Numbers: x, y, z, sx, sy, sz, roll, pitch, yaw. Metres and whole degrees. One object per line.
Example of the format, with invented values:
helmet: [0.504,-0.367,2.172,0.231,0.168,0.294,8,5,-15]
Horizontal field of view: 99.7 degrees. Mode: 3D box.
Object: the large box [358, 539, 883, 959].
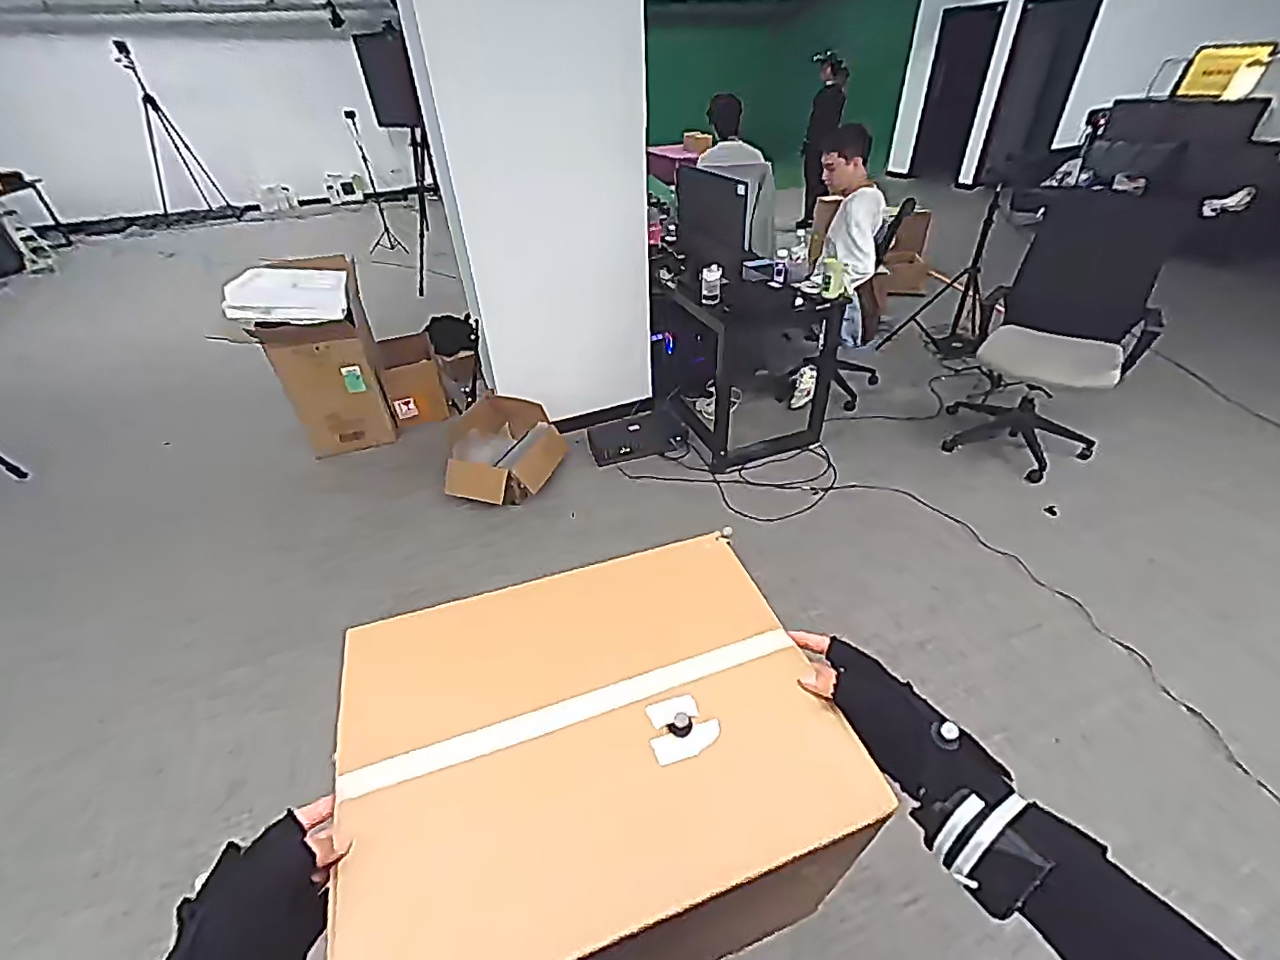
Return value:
large box: [-0.040,0.319,0.579,0.408,0.320,0.320,-13,42,-16]
